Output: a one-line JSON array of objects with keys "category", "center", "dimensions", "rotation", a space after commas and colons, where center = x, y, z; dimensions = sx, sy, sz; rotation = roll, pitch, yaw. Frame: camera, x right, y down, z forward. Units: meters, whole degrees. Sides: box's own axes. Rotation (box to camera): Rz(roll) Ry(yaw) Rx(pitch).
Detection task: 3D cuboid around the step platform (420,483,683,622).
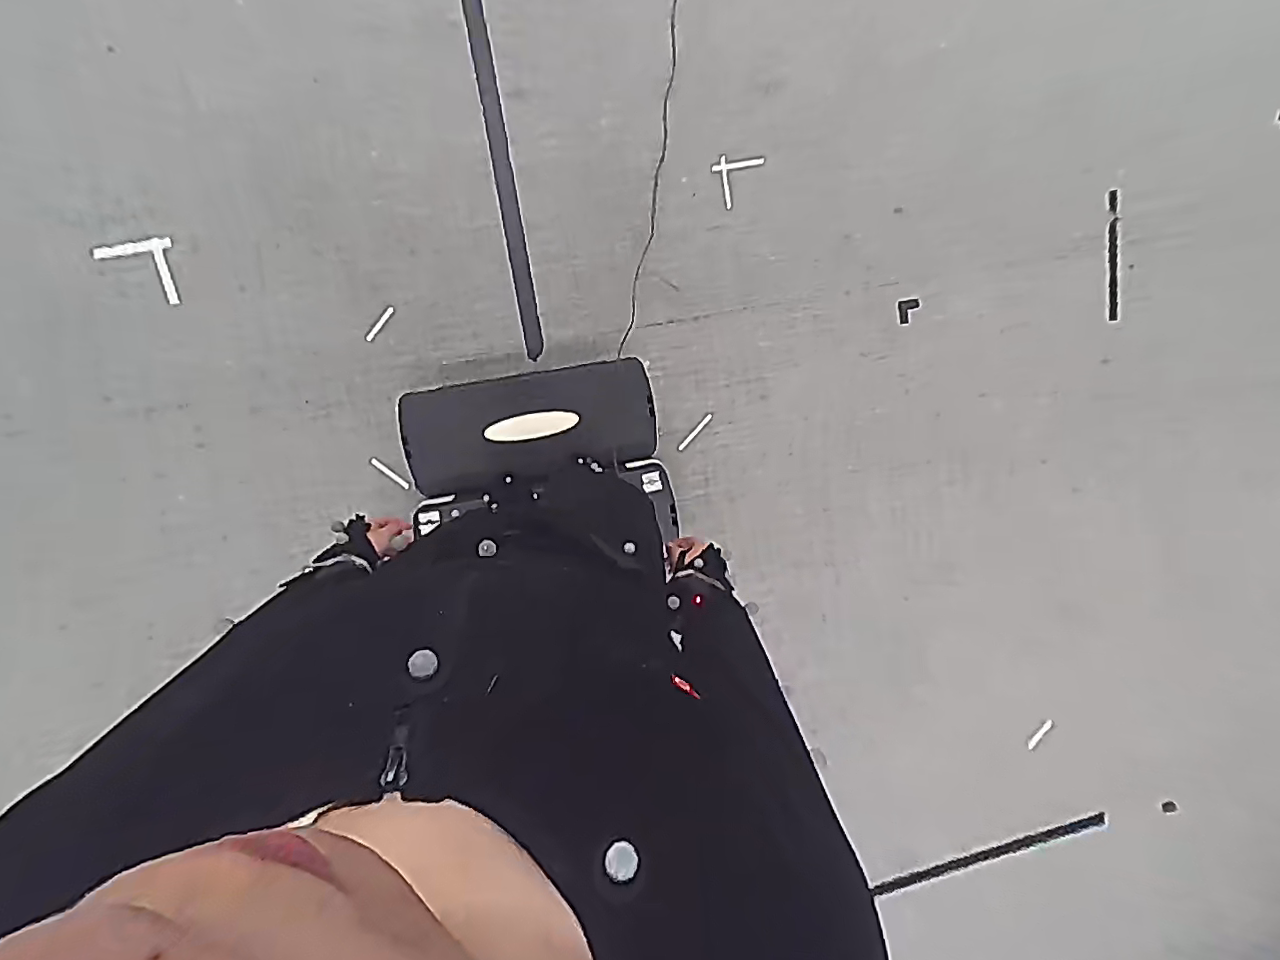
[{"category": "step platform", "center": [-0.227, 0.188, 1.463], "dimensions": [0.684, 0.204, 0.286], "rotation": [-6, 96, -7]}]
